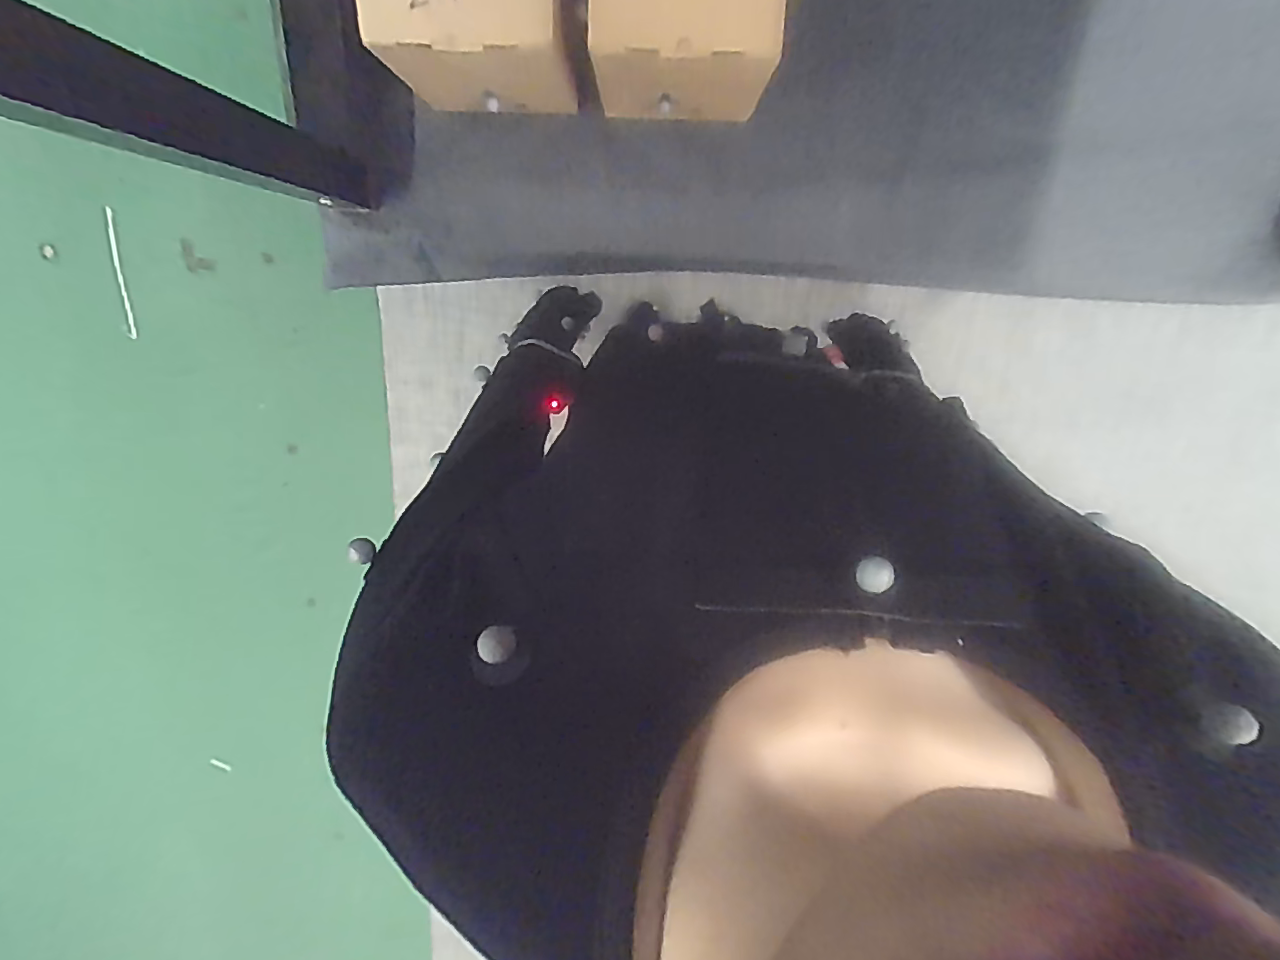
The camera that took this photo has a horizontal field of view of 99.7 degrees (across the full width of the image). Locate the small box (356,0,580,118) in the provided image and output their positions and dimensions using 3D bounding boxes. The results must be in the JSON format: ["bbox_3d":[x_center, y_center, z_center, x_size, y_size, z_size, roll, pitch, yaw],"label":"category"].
[{"bbox_3d":[-0.150,-0.471,0.508,0.168,0.176,0.179,2,108,1],"label":"small box"}]
